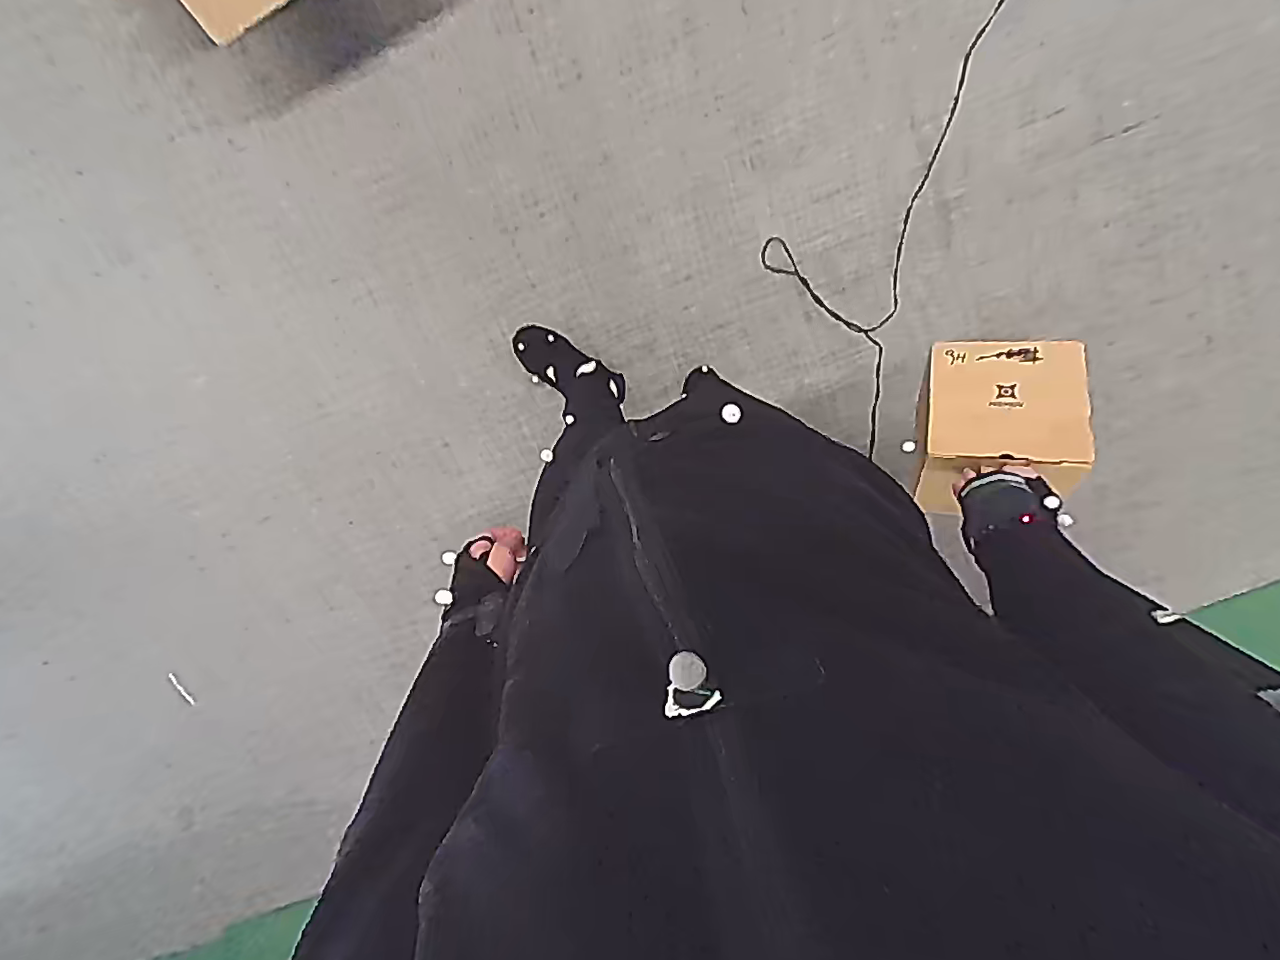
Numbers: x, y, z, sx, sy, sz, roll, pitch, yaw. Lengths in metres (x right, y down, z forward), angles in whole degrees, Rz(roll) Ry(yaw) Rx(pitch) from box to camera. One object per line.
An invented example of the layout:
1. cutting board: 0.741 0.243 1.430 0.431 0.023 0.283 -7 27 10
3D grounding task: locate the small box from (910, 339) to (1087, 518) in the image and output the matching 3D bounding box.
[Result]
1. small box: 0.461 -0.064 0.717 0.168 0.176 0.179 7 65 23
